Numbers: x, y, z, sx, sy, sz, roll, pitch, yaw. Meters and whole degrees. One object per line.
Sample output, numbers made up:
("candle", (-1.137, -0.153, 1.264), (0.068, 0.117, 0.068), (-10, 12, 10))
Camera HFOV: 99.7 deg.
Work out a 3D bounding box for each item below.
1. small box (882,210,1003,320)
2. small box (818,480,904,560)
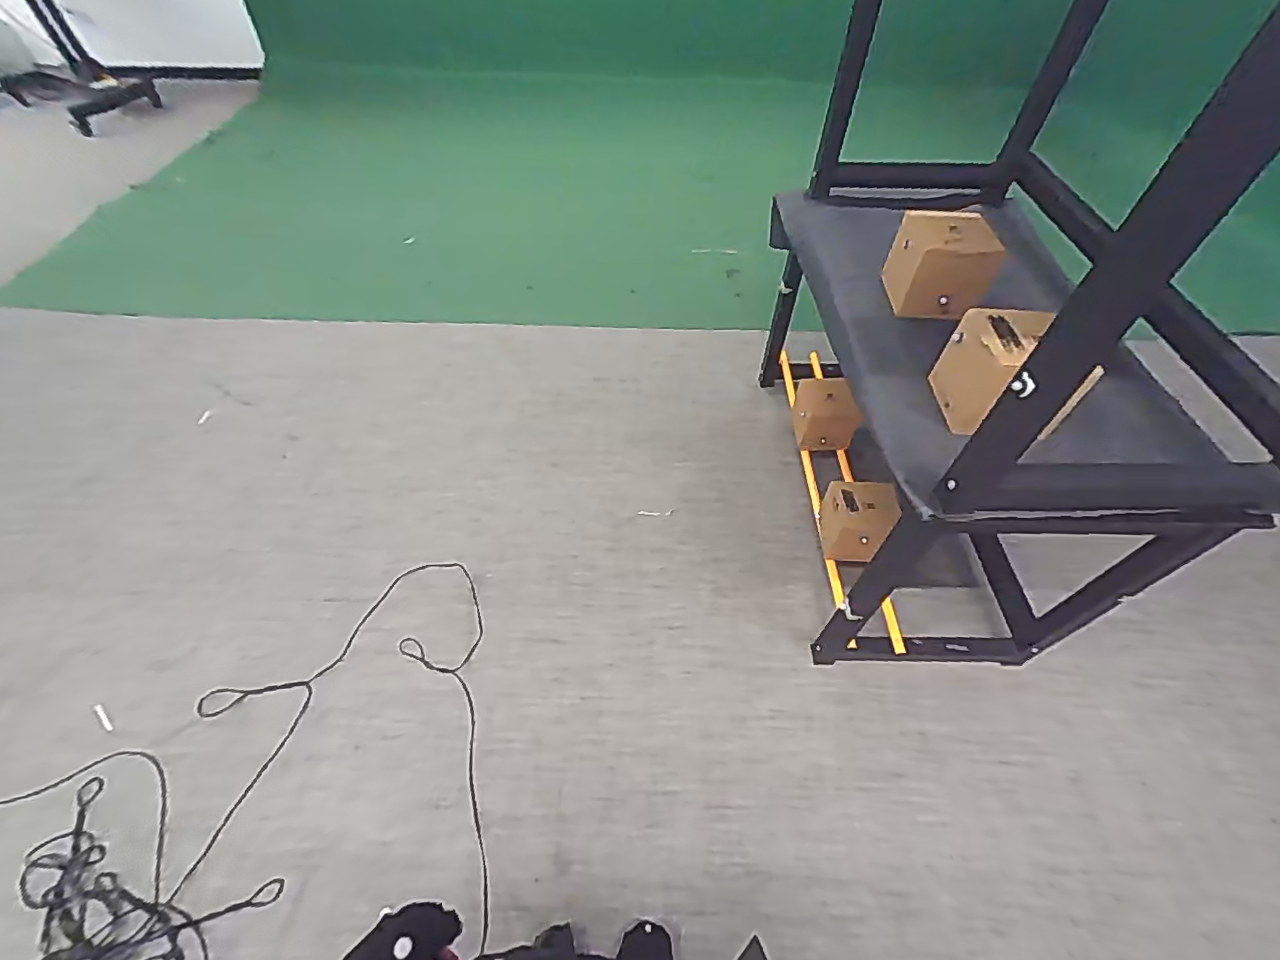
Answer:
("small box", (0.678, -0.492, 1.240), (0.168, 0.176, 0.179), (3, 52, 2))
("small box", (0.622, 0.118, 1.551), (0.179, 0.176, 0.168), (3, 52, 2))
